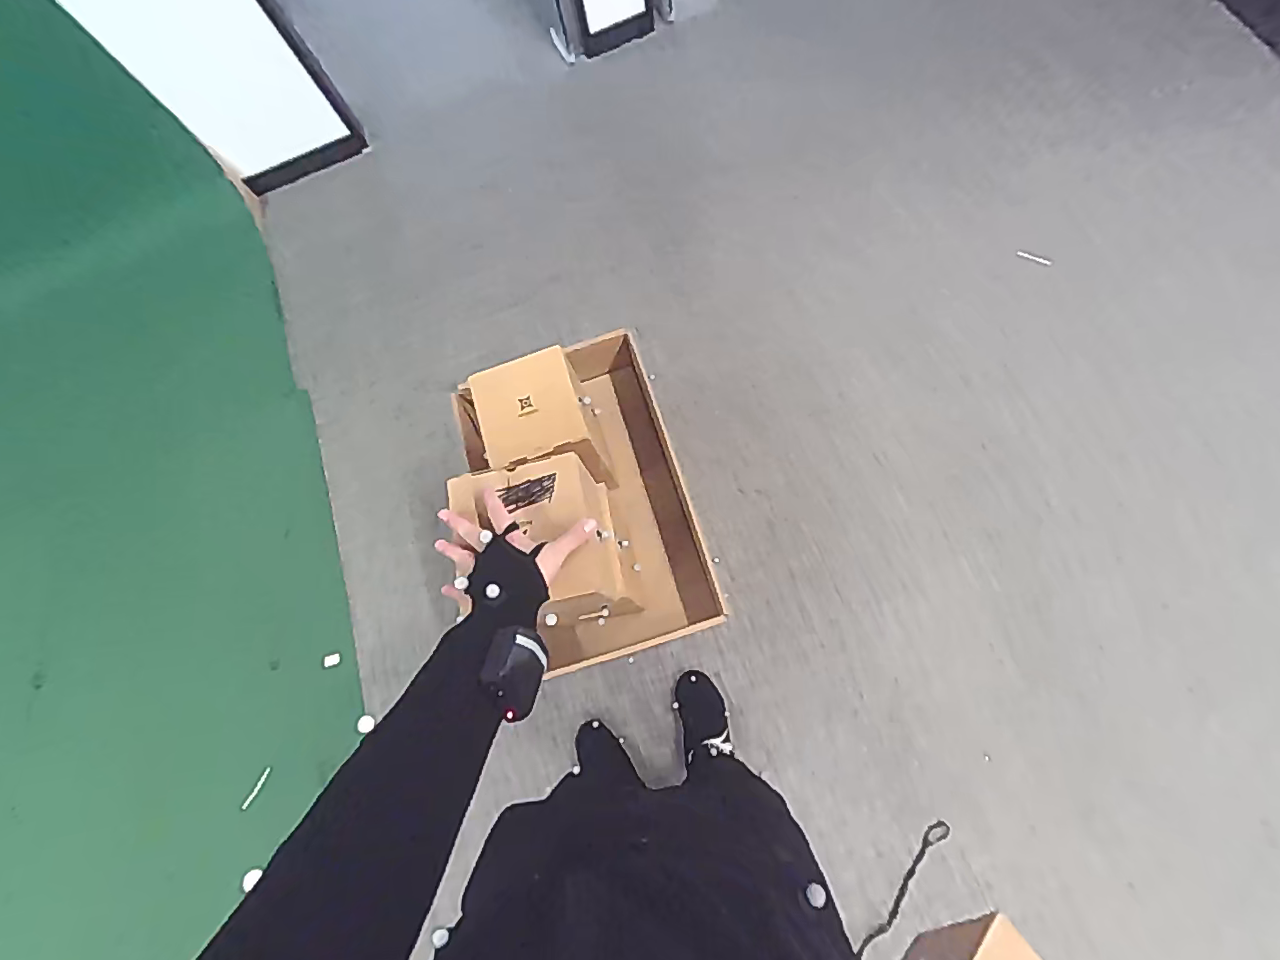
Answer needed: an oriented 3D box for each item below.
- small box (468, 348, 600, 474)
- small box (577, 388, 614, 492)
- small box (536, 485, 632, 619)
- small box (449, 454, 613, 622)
[{"bbox_3d":[-0.180,-0.098,0.956,0.168,0.176,0.179,-19,74,1],"label":"small box"},{"bbox_3d":[-0.163,-0.058,1.112,0.168,0.176,0.179,-19,74,2],"label":"small box"},{"bbox_3d":[-0.113,0.126,0.881,0.168,0.176,0.179,-12,72,2],"label":"small box"},{"bbox_3d":[-0.138,0.086,0.724,0.168,0.176,0.179,-12,73,2],"label":"small box"}]
